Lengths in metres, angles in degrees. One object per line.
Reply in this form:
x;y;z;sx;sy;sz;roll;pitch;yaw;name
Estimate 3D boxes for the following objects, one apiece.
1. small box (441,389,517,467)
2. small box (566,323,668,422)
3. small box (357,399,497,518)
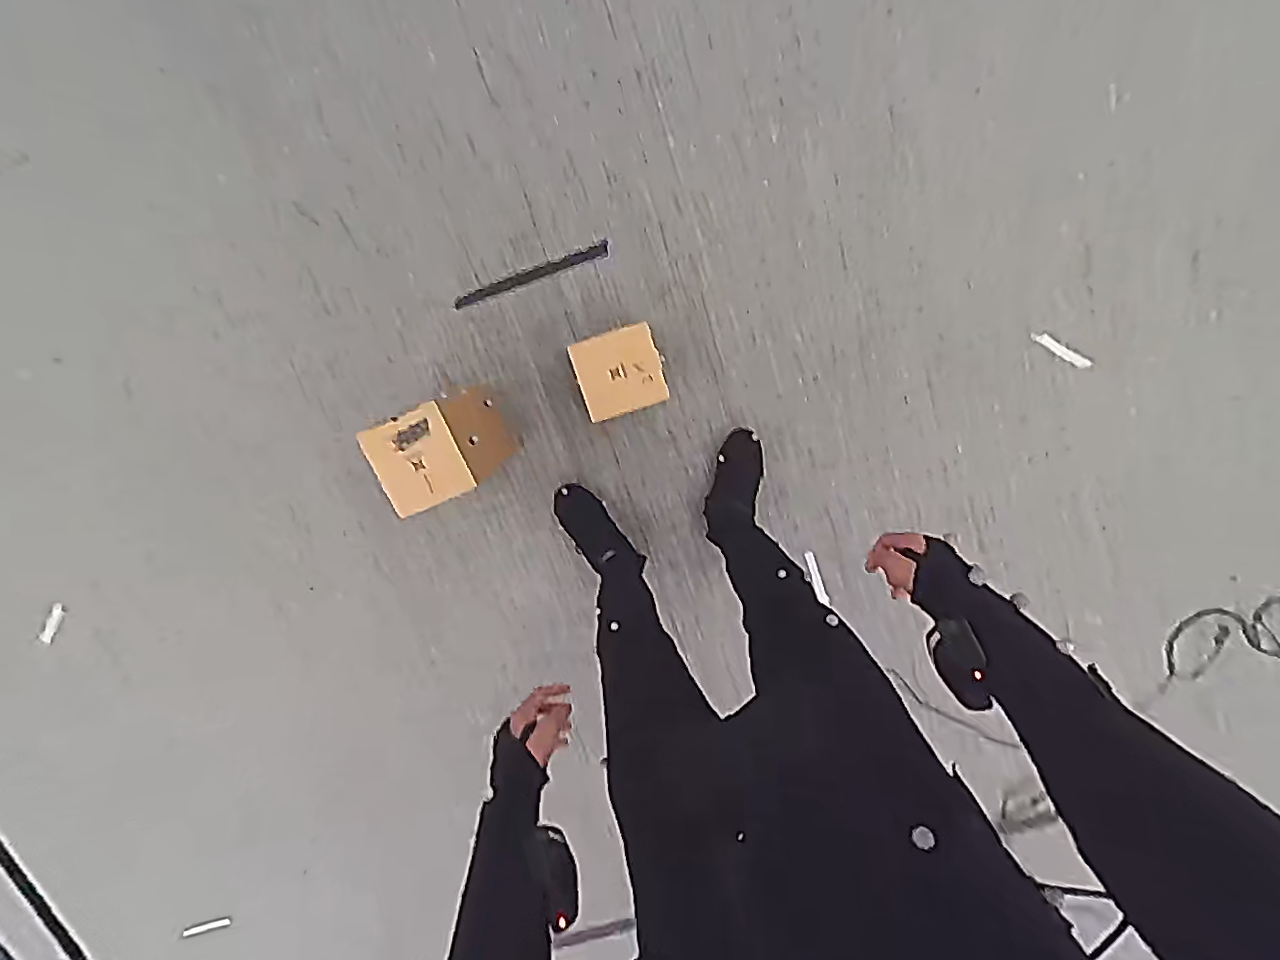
-0.401;-0.097;1.218;0.168;0.176;0.179;-24;103;5;small box
-0.047;-0.235;1.188;0.179;0.176;0.168;-17;103;3;small box
-0.405;-0.052;1.060;0.168;0.176;0.179;-22;103;5;small box
